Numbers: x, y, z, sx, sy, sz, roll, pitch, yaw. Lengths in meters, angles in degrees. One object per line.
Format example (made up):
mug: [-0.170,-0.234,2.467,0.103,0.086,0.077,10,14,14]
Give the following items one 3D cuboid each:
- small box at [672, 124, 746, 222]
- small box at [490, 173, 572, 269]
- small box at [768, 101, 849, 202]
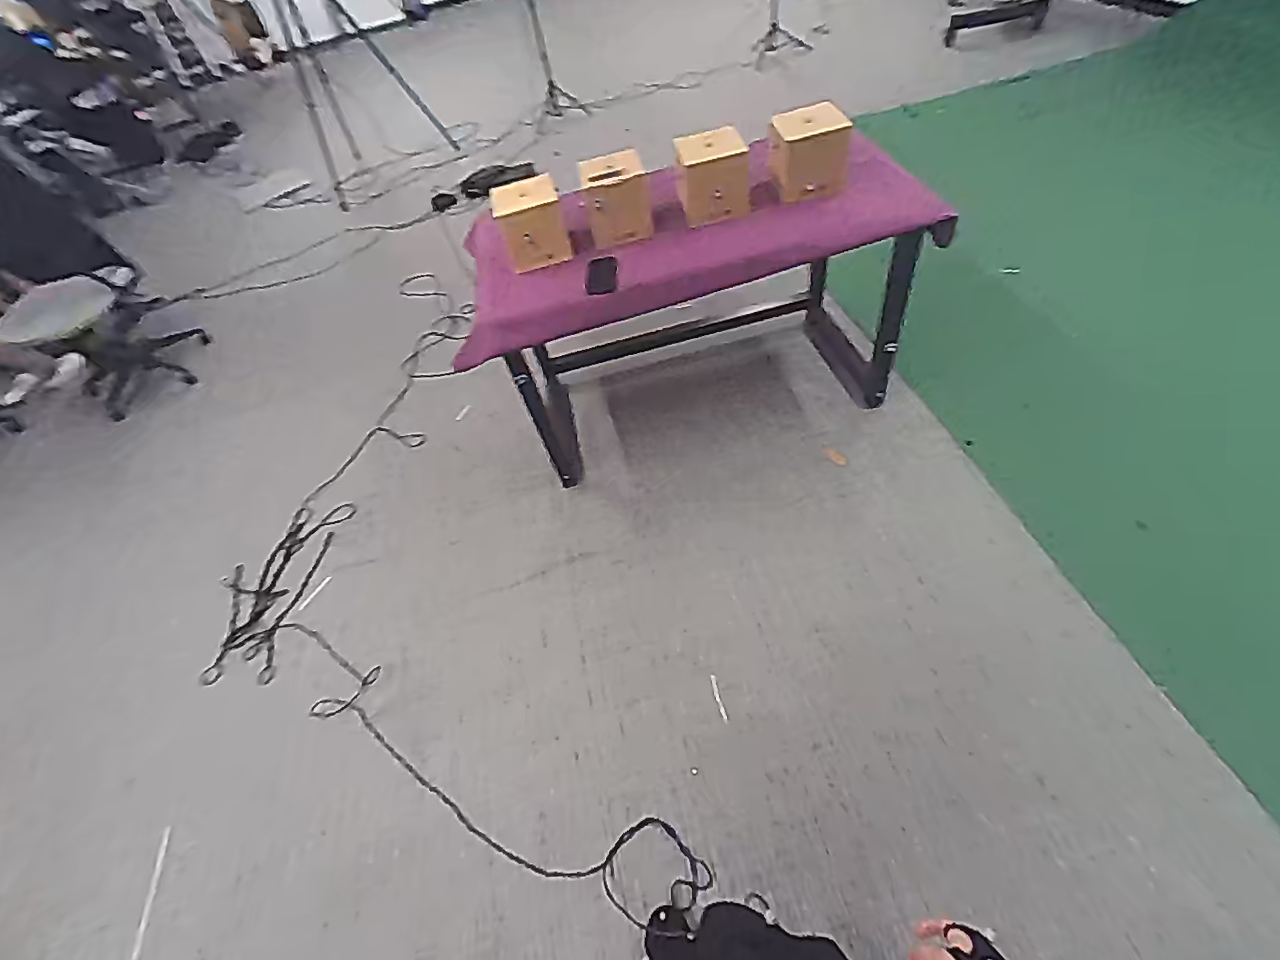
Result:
small box: [0.190,-0.824,1.467,0.168,0.176,0.179,-12,51,2]
small box: [-0.295,-0.700,1.478,0.168,0.176,0.179,-17,51,-1]
small box: [0.444,-0.881,1.457,0.168,0.176,0.179,-12,51,5]
